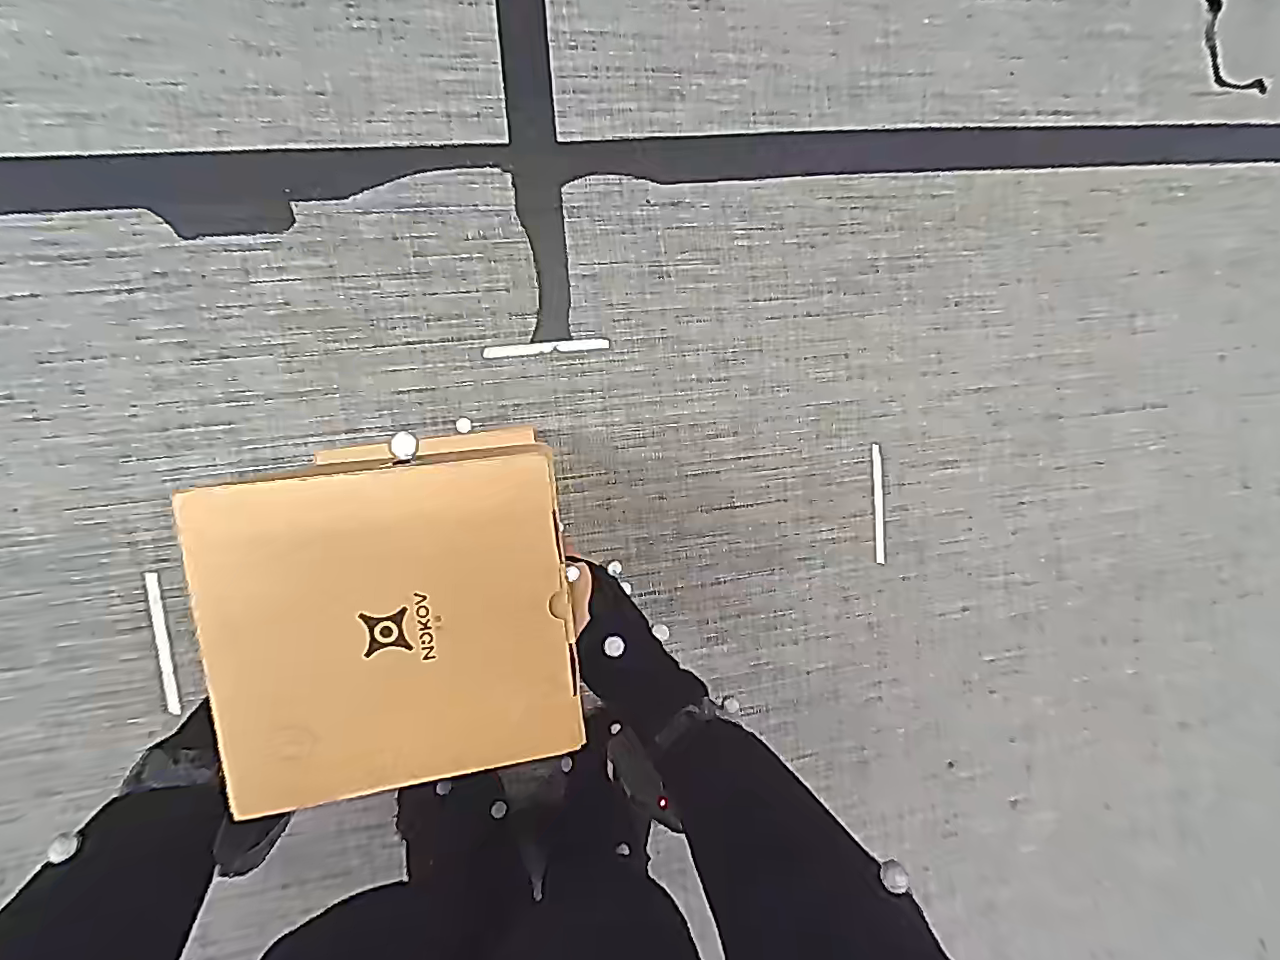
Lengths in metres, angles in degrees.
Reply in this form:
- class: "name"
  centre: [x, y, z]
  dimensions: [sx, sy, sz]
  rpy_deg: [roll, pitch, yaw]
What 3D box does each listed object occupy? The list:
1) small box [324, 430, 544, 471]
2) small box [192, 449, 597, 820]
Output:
- class: "small box"
  centre: [-0.163, 0.048, 0.505]
  dimensions: [0.168, 0.176, 0.179]
  rpy_deg: [-8, 95, -11]
- class: "small box"
  centre: [-0.129, 0.070, 0.348]
  dimensions: [0.179, 0.176, 0.168]
  rpy_deg: [-7, 96, -11]
